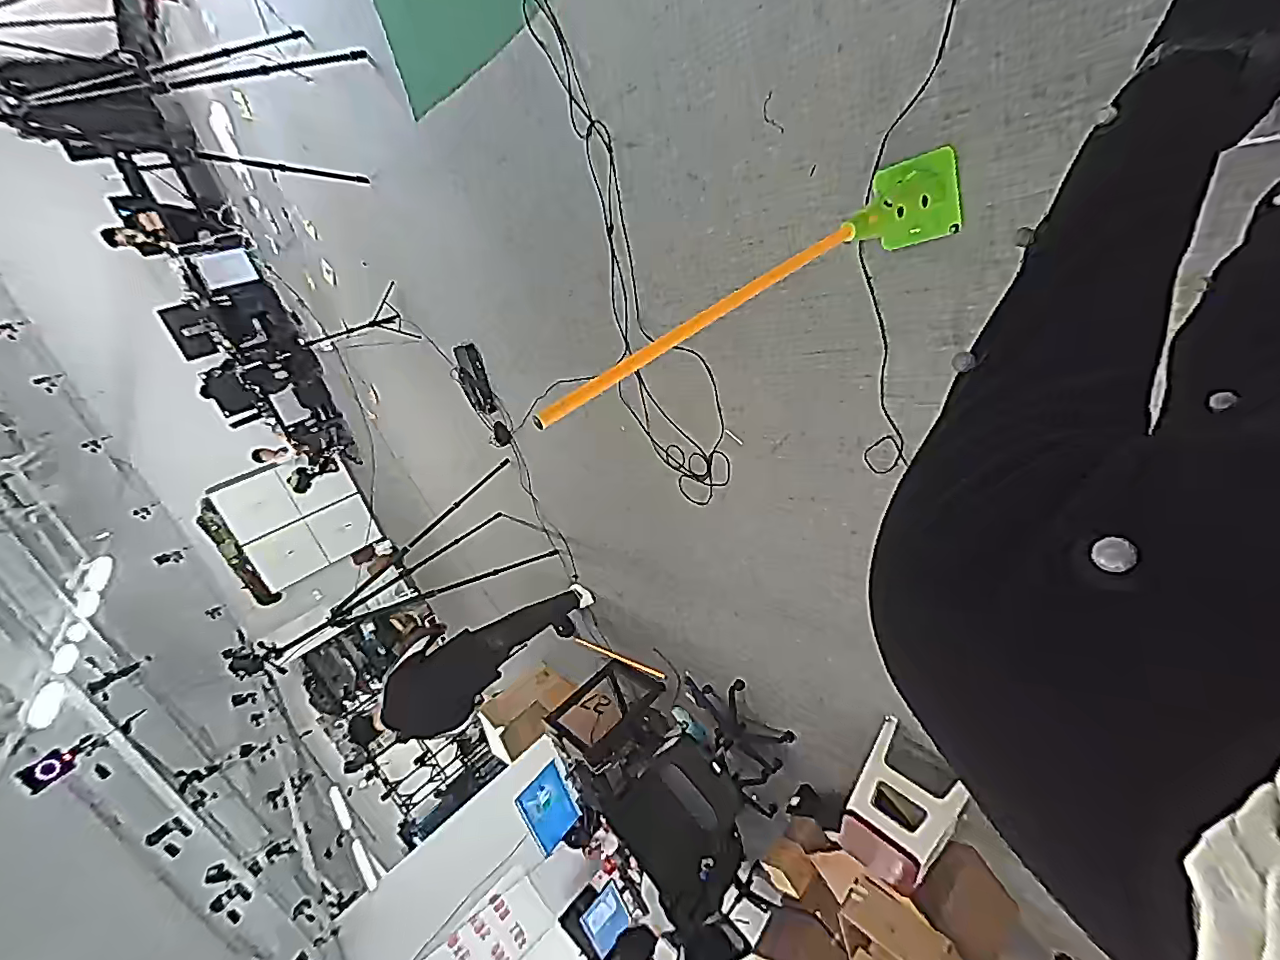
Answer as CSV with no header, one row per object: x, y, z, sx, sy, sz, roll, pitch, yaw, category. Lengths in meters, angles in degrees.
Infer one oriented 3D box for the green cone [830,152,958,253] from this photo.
0.573,-0.625,1.291,0.202,0.368,0.200,7,122,52,green cone
